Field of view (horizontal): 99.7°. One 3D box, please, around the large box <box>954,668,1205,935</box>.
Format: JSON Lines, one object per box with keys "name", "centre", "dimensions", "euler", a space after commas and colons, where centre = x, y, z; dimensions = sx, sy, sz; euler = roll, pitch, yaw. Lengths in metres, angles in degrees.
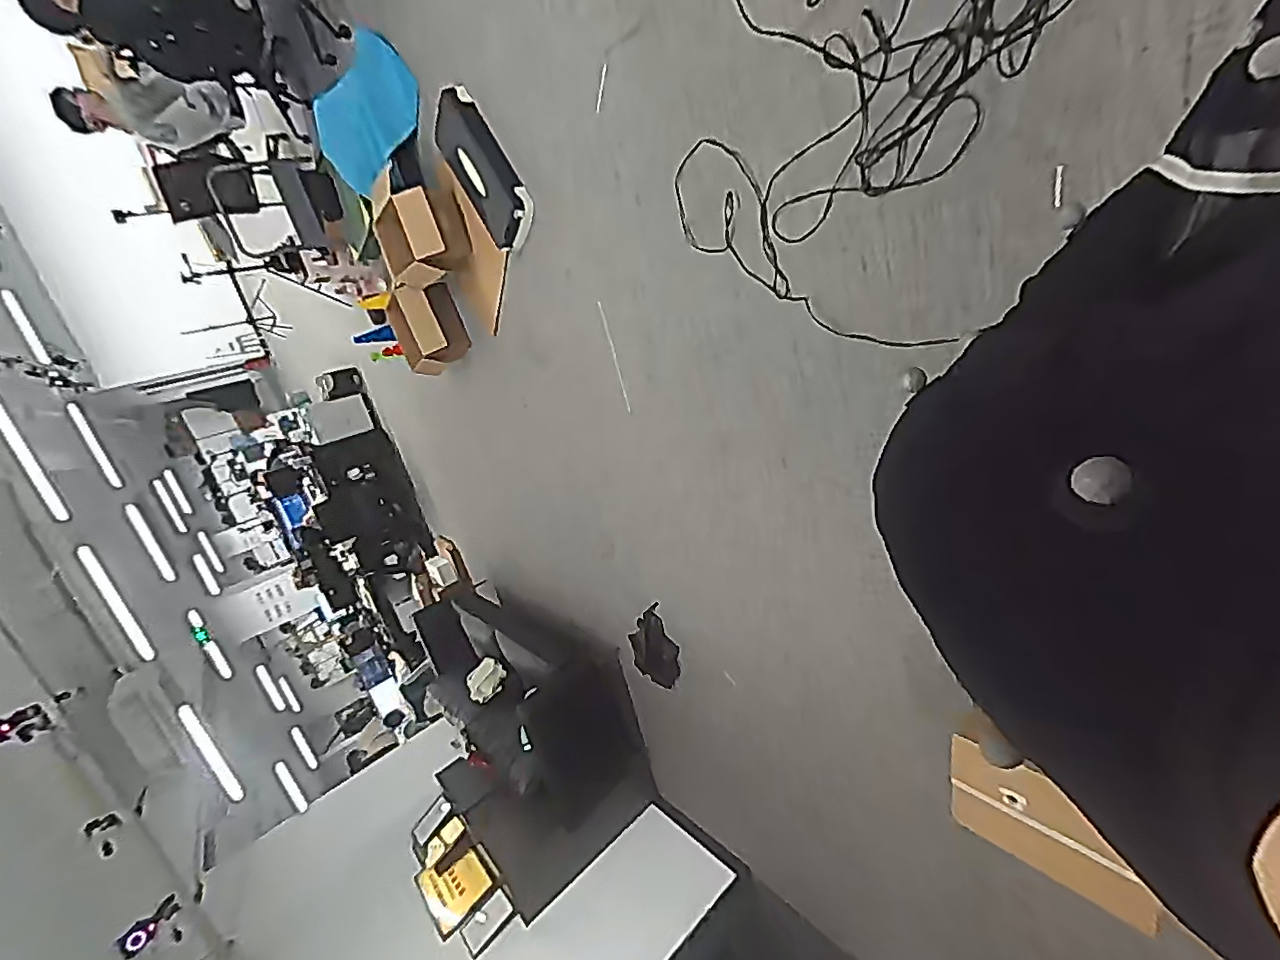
{"name": "large box", "centre": [1.040, 0.735, 1.308], "dimensions": [0.408, 0.320, 0.320], "euler": [15, 123, 50]}
